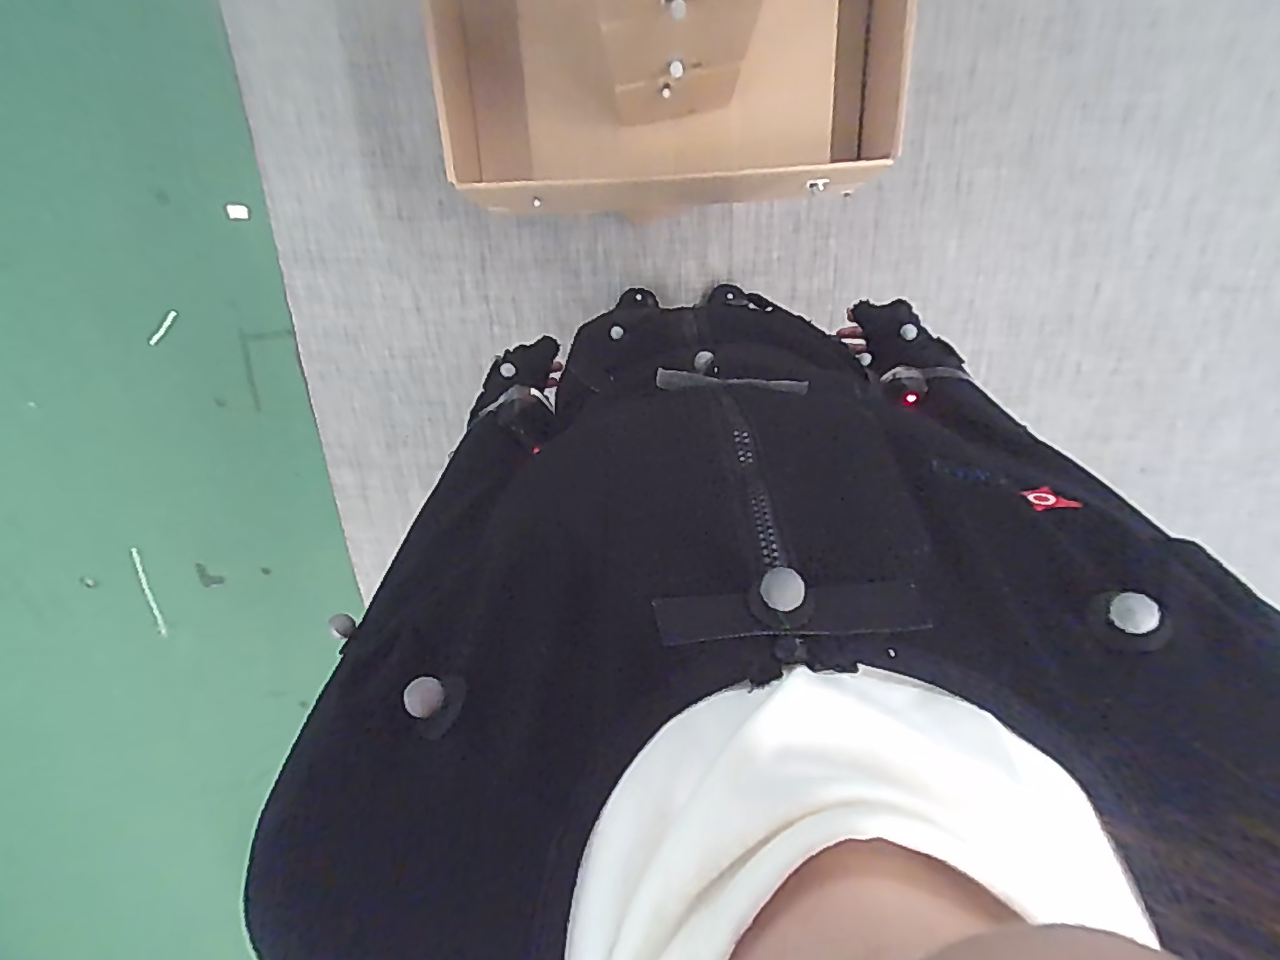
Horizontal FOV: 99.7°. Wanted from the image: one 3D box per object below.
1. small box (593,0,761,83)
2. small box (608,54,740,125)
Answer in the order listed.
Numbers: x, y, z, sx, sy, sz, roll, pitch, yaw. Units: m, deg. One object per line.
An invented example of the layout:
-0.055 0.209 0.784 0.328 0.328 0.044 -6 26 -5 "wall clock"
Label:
0.030 -0.563 0.572 0.168 0.176 0.179 -7 109 5 "small box"
0.037 -0.614 0.727 0.168 0.176 0.179 -7 108 7 "small box"
